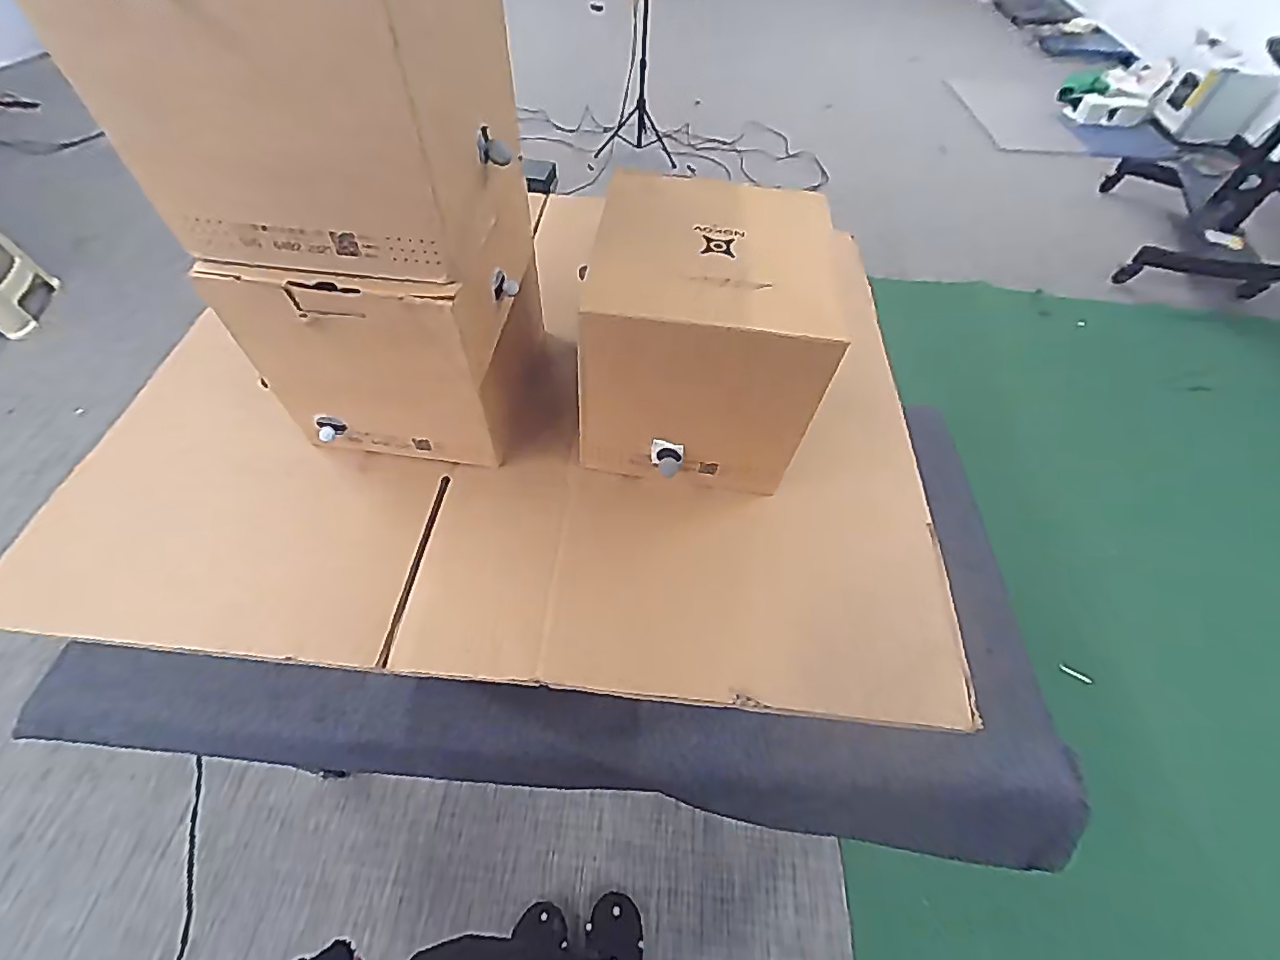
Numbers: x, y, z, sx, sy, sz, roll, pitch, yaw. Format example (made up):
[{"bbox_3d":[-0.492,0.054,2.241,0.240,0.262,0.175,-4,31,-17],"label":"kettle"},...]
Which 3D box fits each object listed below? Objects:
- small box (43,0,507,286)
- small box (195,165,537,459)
[{"bbox_3d":[-0.182,-0.240,0.314,0.168,0.176,0.179,6,55,1],"label":"small box"},{"bbox_3d":[-0.187,-0.136,0.441,0.168,0.176,0.179,7,55,2],"label":"small box"}]
